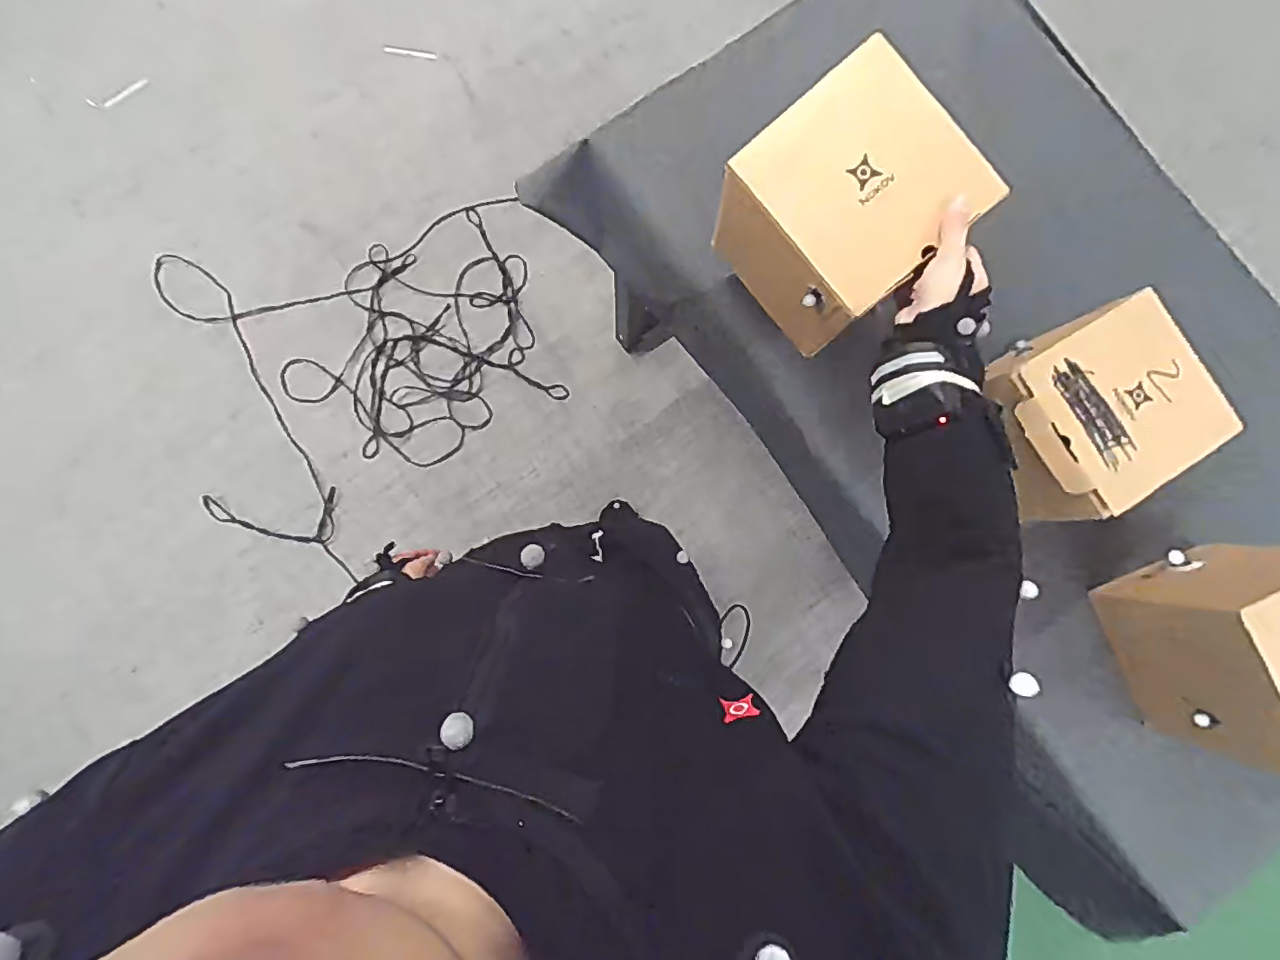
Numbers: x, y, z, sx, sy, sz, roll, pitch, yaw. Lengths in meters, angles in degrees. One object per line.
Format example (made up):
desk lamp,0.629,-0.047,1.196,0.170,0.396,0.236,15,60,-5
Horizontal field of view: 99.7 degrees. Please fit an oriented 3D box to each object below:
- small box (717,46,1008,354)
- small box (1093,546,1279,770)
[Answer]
small box,0.195,-0.250,0.535,0.168,0.176,0.179,-41,91,2
small box,0.666,0.180,0.592,0.168,0.176,0.179,-21,85,-5
